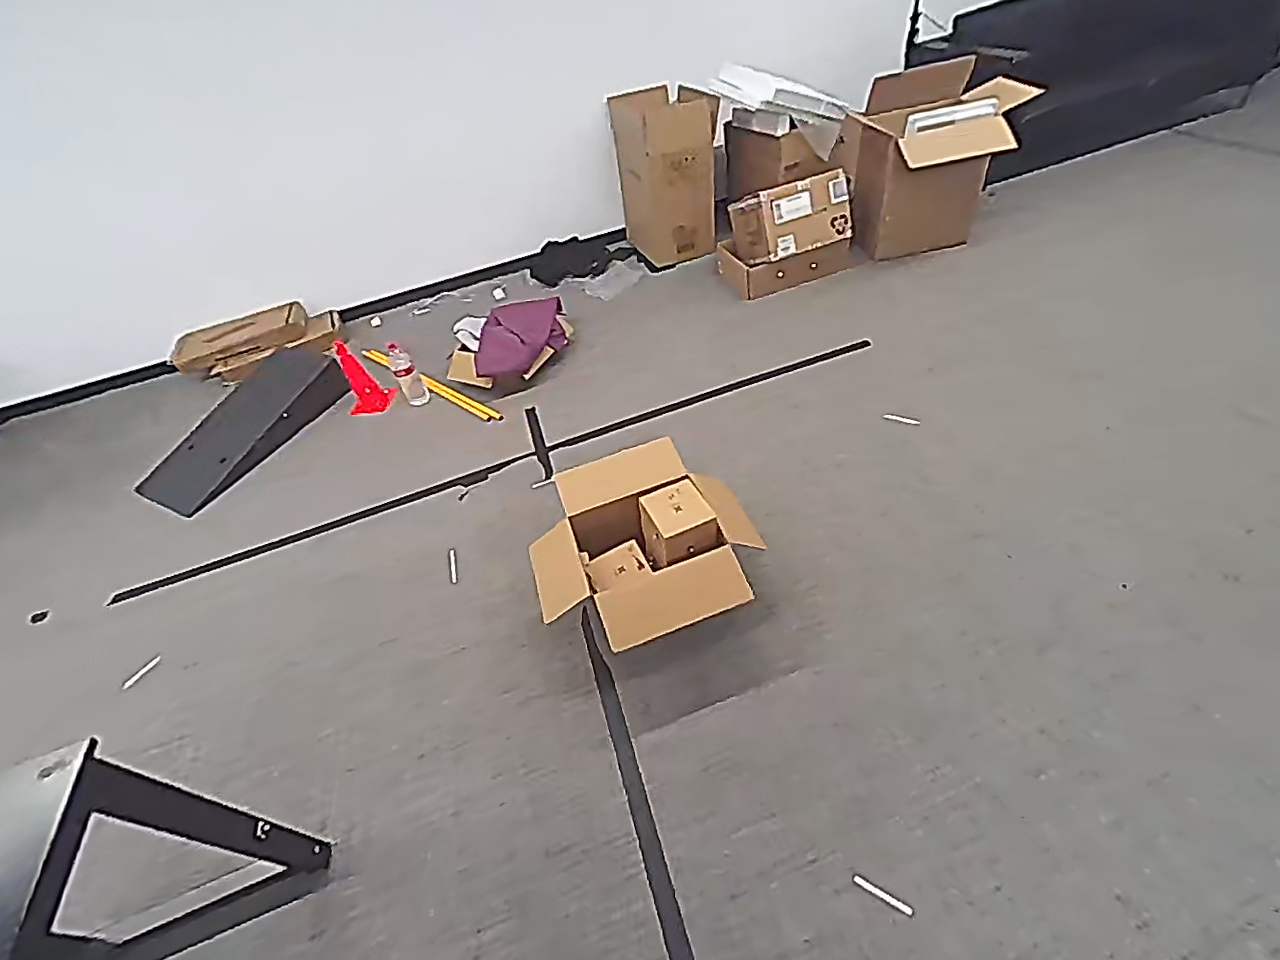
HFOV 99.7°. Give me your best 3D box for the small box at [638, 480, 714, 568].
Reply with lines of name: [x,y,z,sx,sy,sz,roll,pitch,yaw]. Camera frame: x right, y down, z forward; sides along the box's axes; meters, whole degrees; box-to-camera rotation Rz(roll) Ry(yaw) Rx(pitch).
small box: [0.108,0.137,1.592,0.168,0.176,0.179,-21,46,-14]
